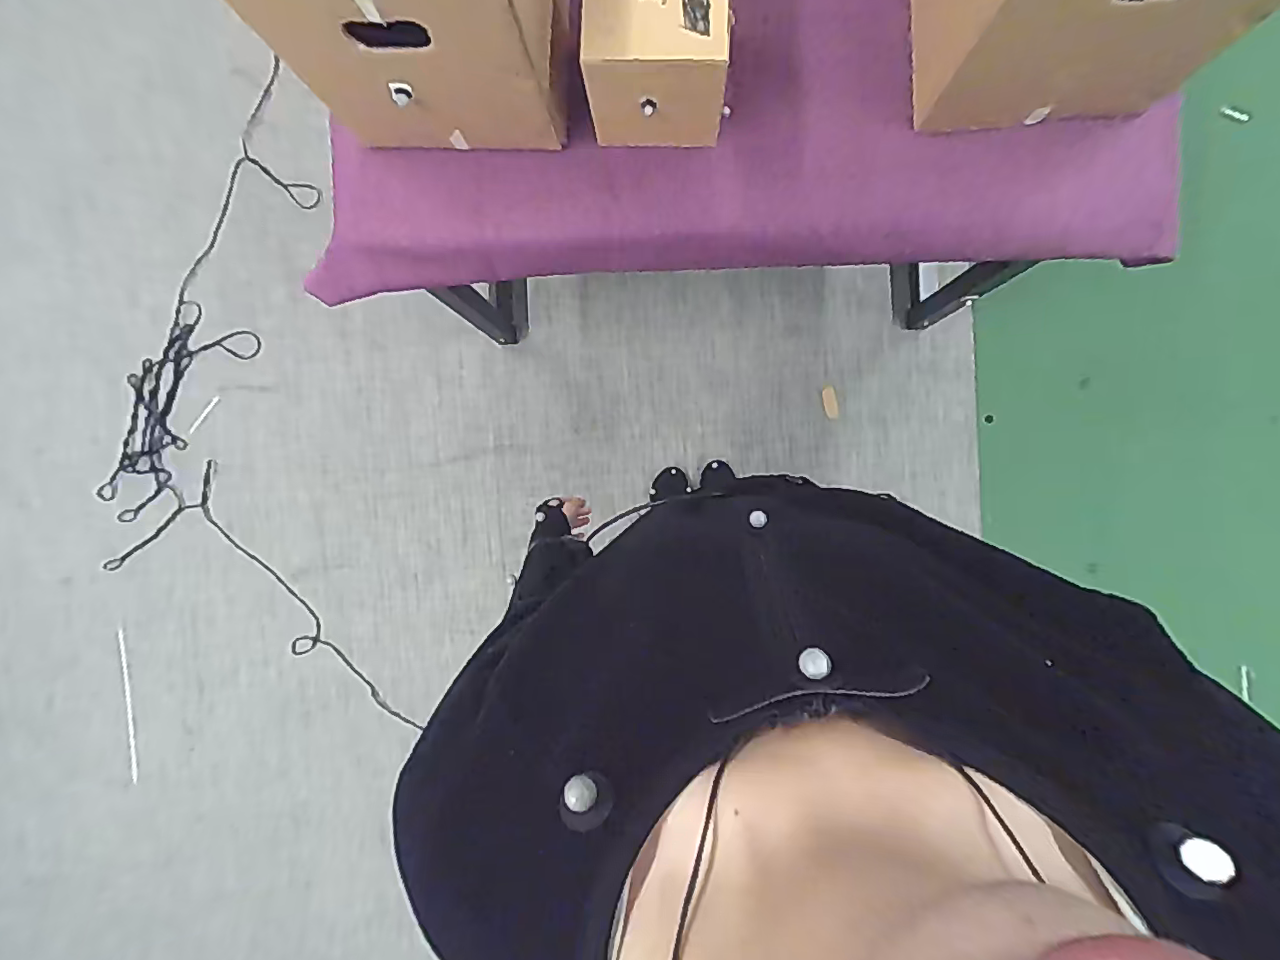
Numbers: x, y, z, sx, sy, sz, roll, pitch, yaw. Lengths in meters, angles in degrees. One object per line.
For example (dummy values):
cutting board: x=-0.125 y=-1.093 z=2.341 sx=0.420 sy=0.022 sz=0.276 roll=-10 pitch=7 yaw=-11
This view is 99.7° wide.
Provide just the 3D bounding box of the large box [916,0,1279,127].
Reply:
large box: x=0.523 y=-0.697 z=0.600 sx=0.320 sy=0.320 sz=0.408 roll=-2 pitch=91 yaw=6
